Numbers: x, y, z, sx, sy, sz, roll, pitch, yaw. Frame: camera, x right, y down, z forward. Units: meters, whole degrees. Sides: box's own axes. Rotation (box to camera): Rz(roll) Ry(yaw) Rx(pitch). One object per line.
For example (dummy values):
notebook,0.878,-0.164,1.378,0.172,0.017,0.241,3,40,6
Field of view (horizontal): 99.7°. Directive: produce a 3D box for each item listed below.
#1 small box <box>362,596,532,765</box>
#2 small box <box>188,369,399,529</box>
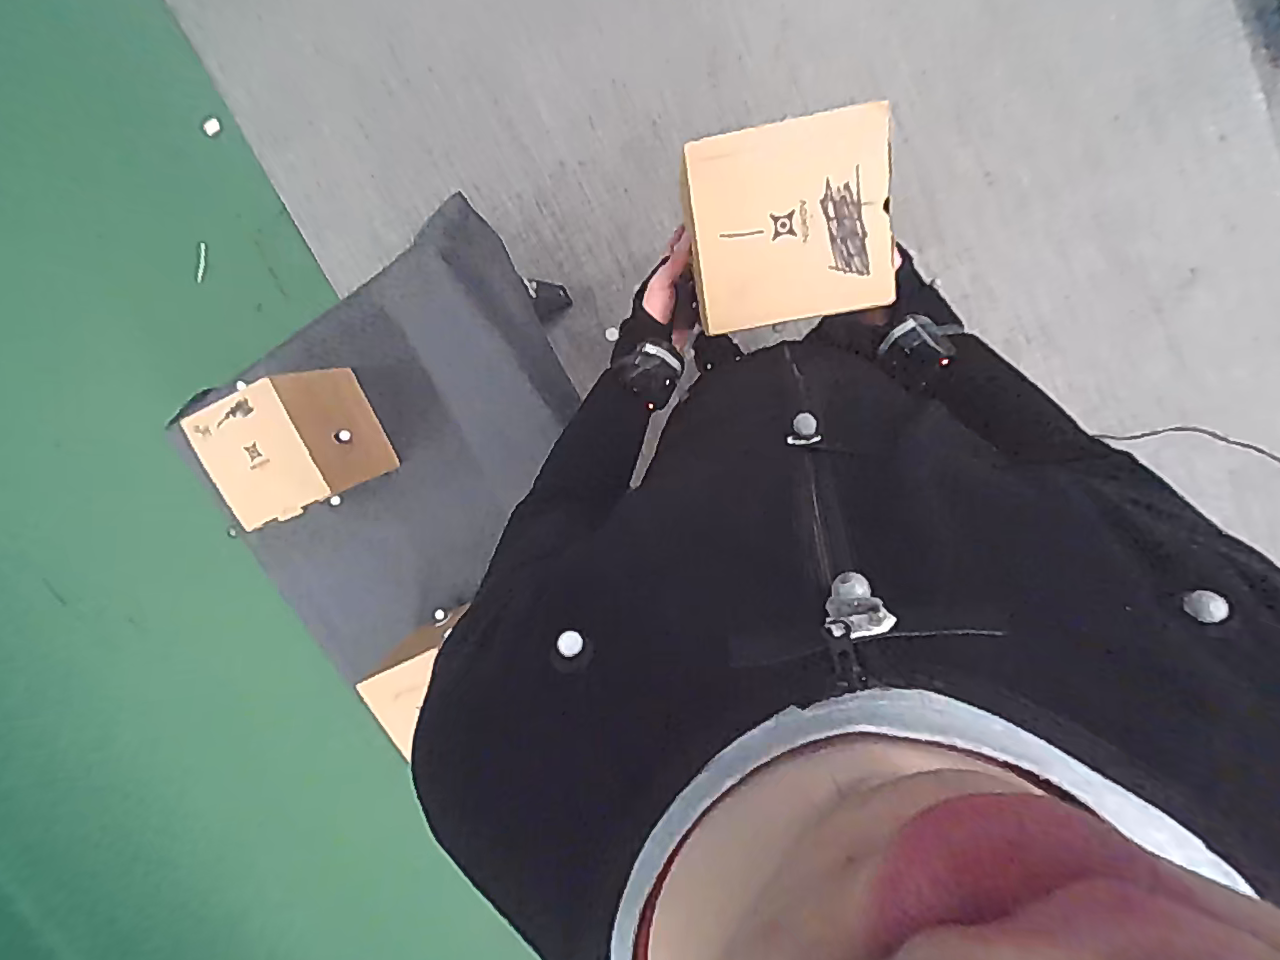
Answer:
small box,-0.308,0.326,0.903,0.168,0.176,0.179,-27,99,14
small box,-0.507,-0.054,0.821,0.168,0.176,0.179,-20,102,13
